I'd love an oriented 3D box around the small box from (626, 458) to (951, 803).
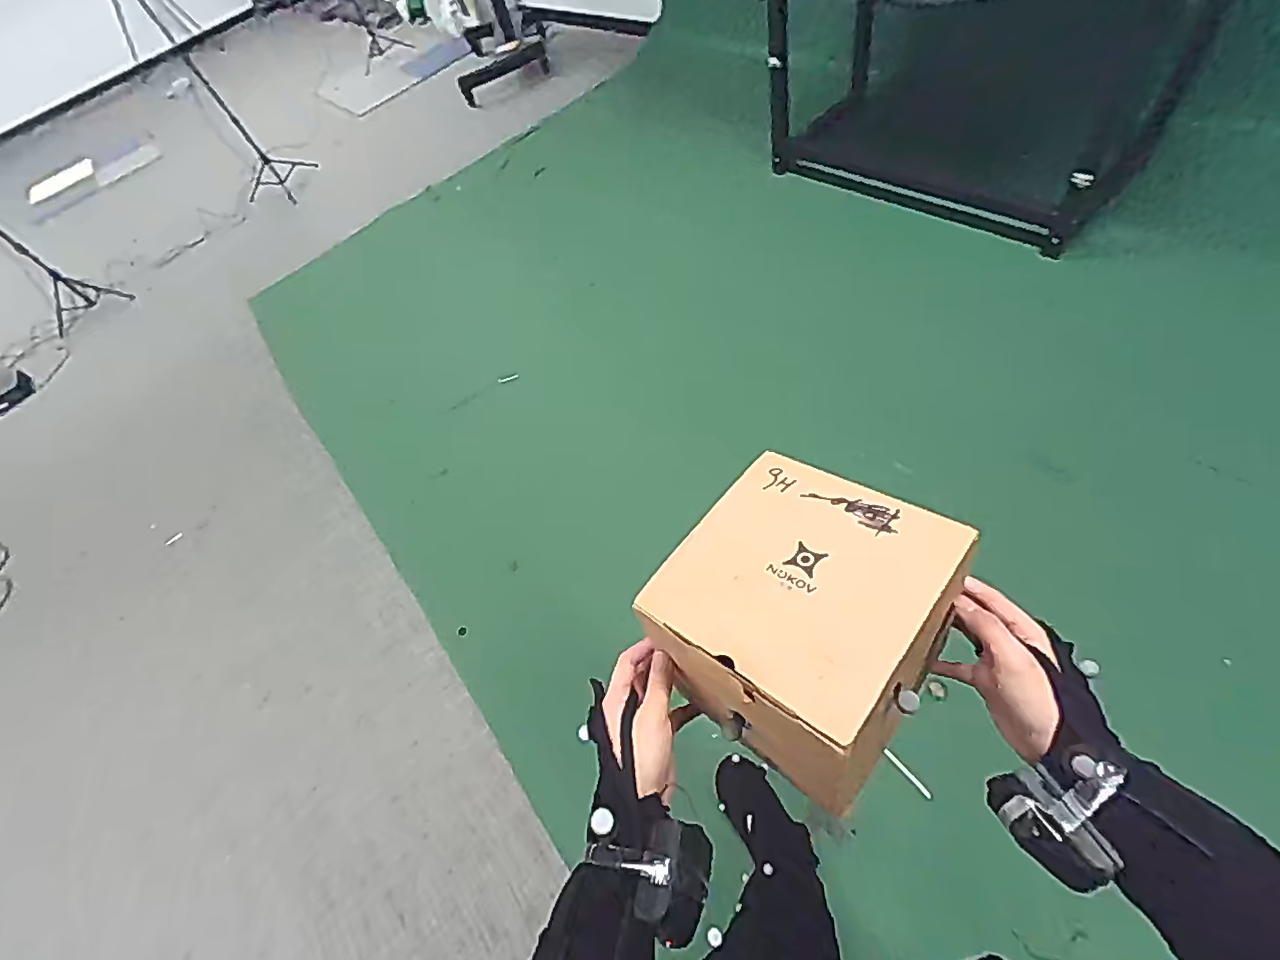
[{"bbox_3d":[0.122,0.119,0.437,0.168,0.176,0.179,27,62,38],"label":"small box"}]
